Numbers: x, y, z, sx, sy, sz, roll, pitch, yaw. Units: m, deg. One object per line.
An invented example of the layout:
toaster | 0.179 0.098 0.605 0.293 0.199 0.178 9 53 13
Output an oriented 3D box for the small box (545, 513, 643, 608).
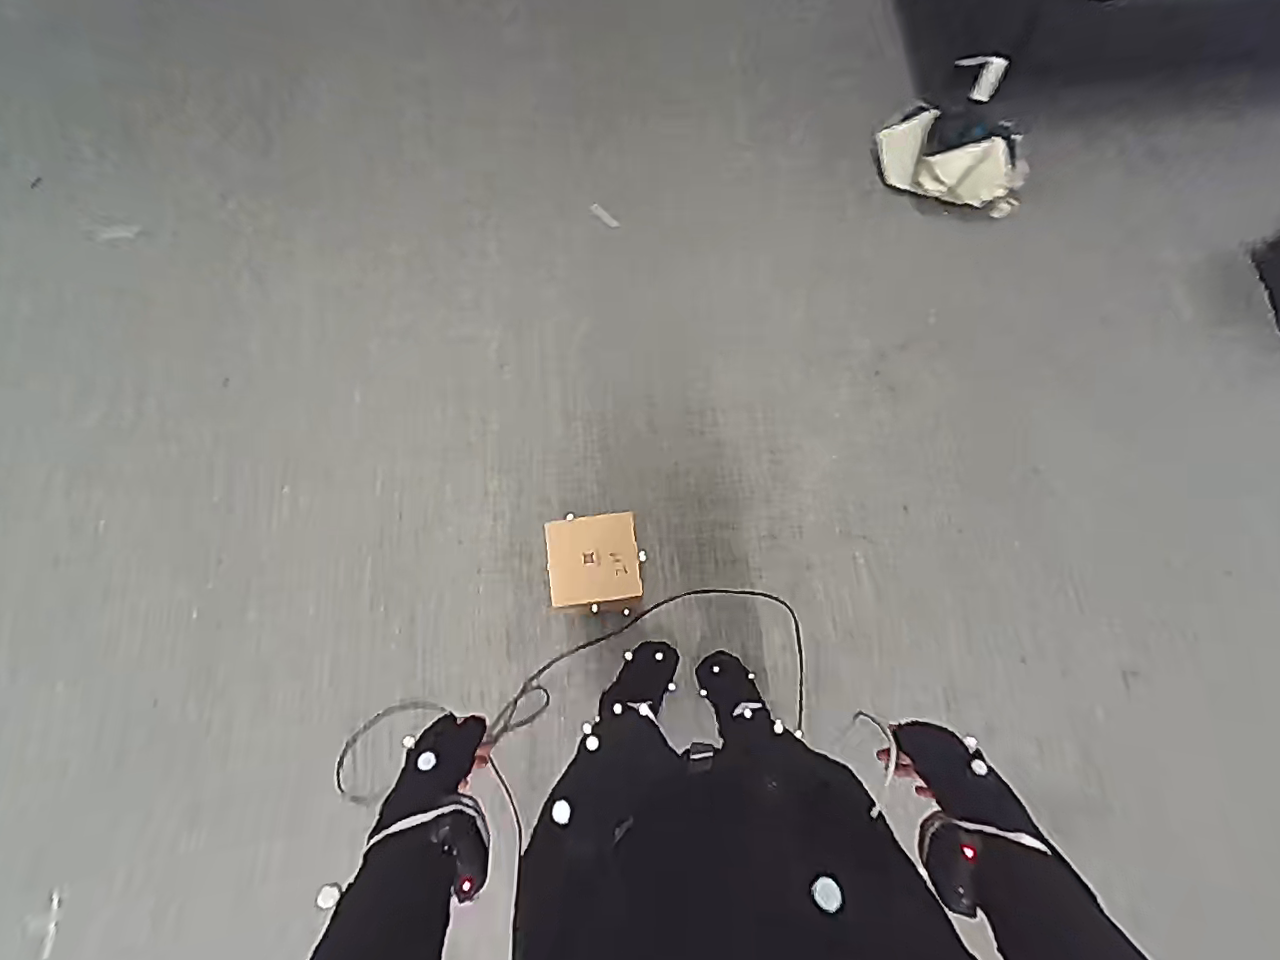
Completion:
small box | -0.089 0.171 1.114 0.179 0.176 0.168 -7 76 -2

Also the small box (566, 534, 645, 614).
small box | -0.084 0.221 1.271 0.179 0.176 0.168 -7 76 -1
